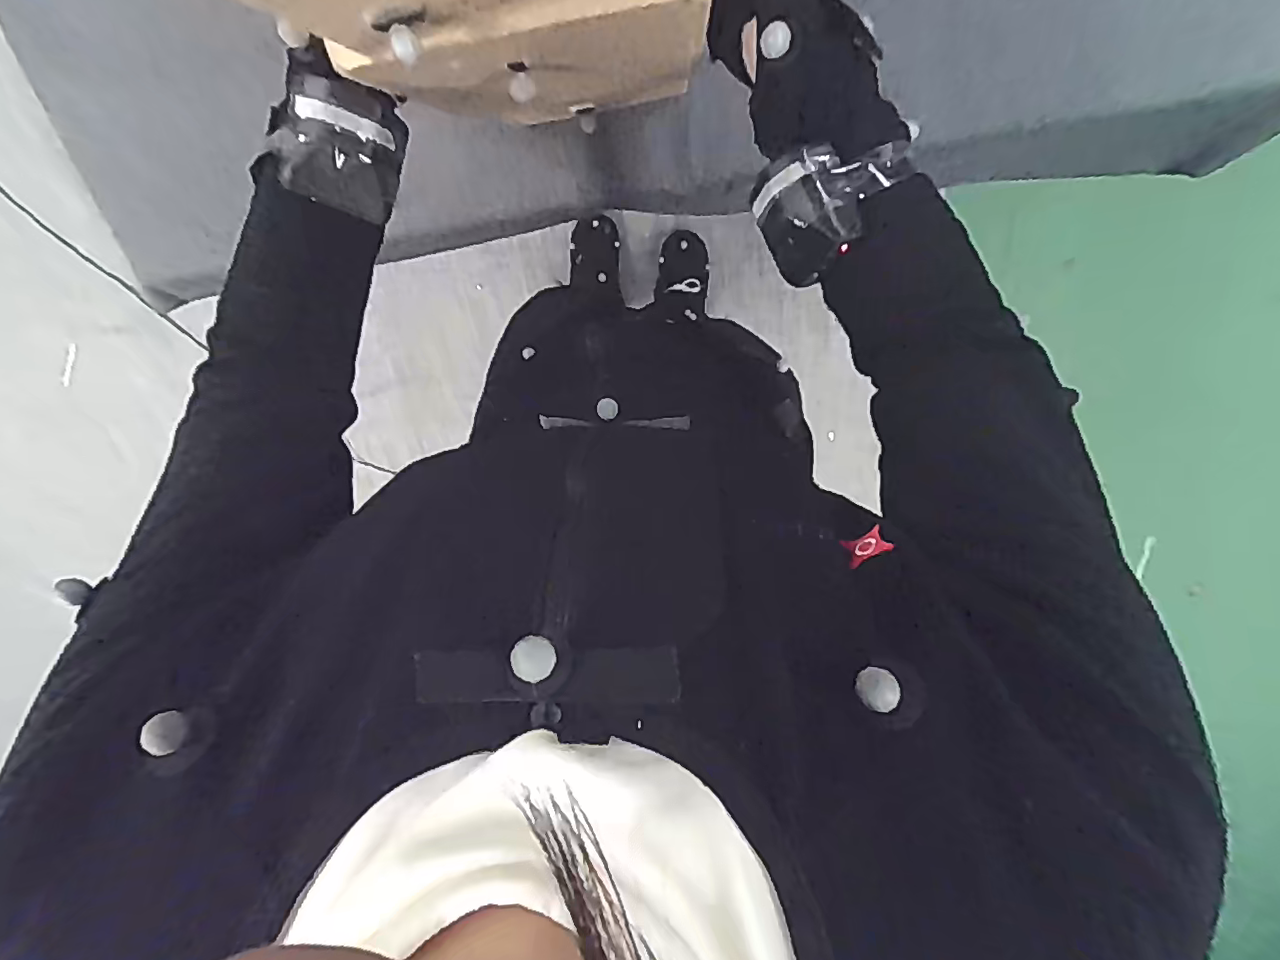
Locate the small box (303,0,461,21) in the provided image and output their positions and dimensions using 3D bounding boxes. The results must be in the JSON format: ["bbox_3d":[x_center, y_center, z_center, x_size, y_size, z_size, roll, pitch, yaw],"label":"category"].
[{"bbox_3d":[-0.072,-0.246,0.123,0.168,0.176,0.179,-10,114,9],"label":"small box"}]

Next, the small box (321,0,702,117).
[{"bbox_3d":[-0.063,-0.311,0.277,0.179,0.176,0.168,-9,114,8],"label":"small box"}]

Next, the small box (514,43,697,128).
[{"bbox_3d":[-0.051,-0.395,0.415,0.168,0.176,0.179,-8,118,9],"label":"small box"}]
